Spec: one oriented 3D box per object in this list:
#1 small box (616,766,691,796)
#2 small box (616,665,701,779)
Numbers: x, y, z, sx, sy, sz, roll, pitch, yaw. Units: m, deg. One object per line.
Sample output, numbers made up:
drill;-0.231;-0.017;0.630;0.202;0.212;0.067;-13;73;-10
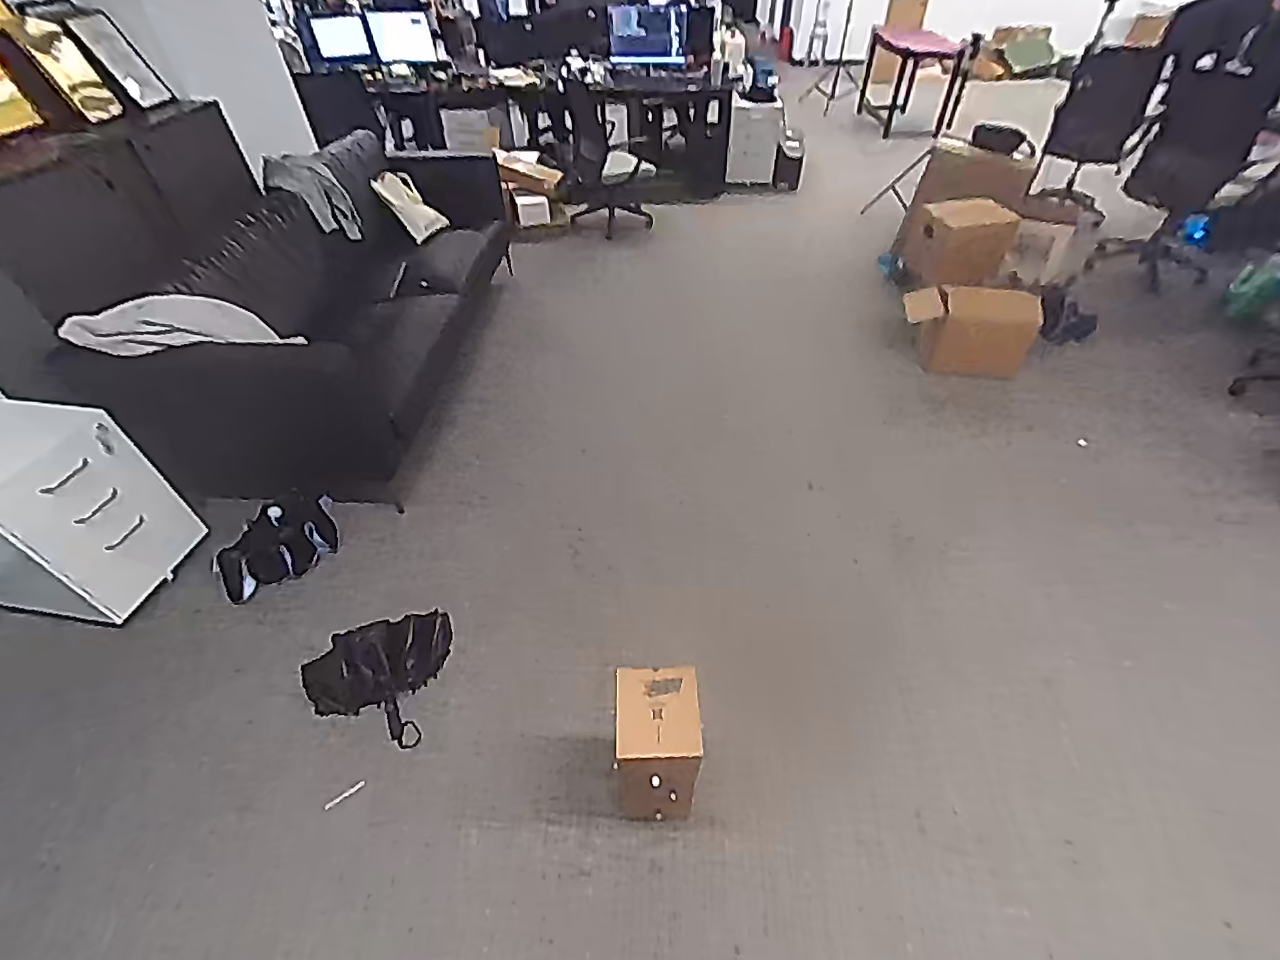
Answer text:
small box;0.035;0.616;1.254;0.168;0.176;0.179;1;44;1
small box;0.032;0.507;1.131;0.168;0.176;0.179;-1;47;-1
